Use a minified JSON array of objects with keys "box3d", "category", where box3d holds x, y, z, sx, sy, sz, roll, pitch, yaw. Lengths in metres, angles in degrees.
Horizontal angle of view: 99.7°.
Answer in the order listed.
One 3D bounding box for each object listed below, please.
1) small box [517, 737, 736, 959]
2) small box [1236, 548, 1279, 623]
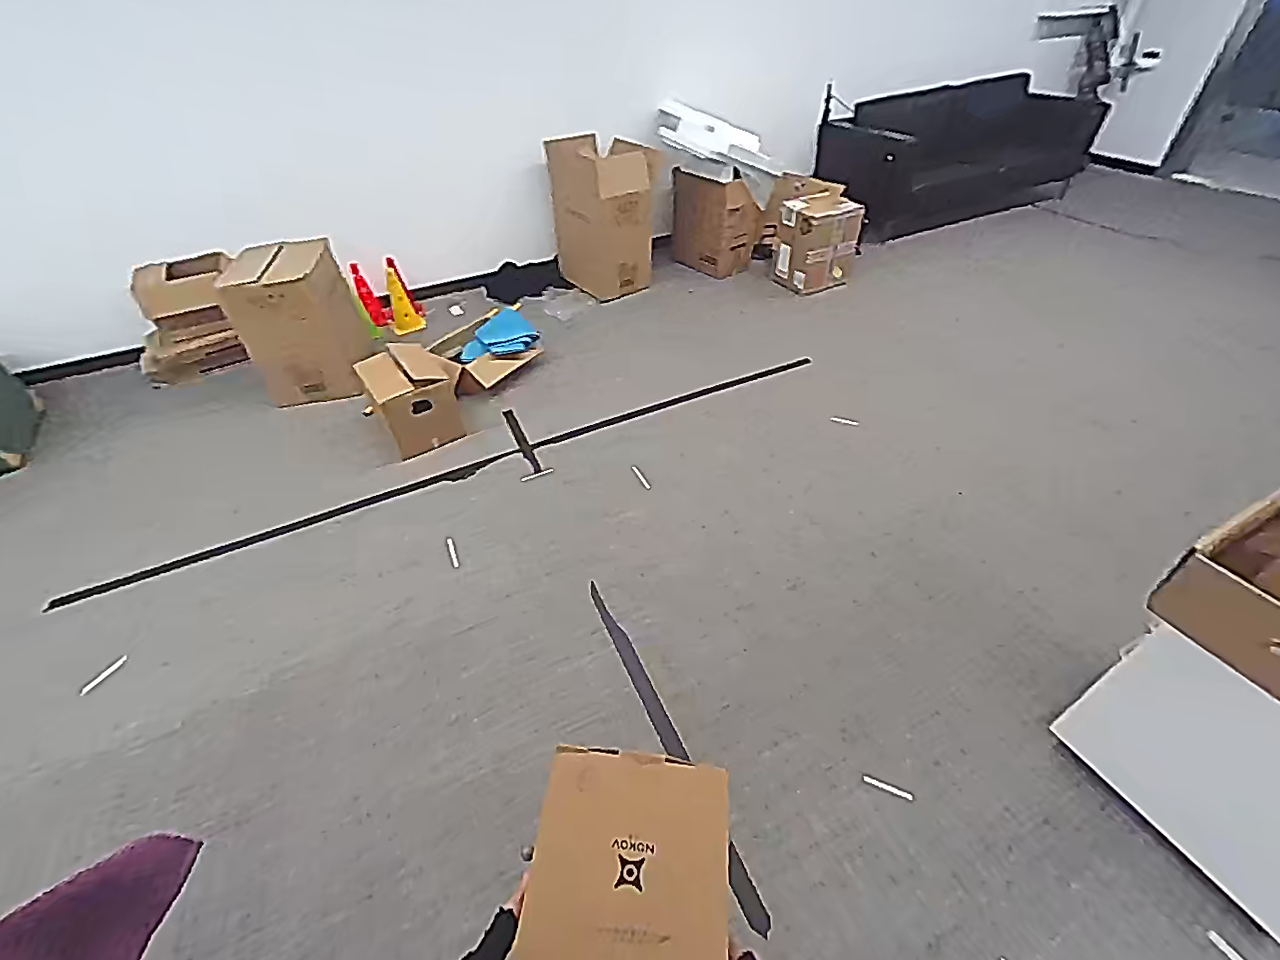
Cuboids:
[{"box3d":[-0.008,0.371,0.506,0.168,0.176,0.179,8,46,2],"category":"small box"},{"box3d":[1.251,0.175,0.966,0.179,0.176,0.168,-25,47,-14],"category":"small box"}]
